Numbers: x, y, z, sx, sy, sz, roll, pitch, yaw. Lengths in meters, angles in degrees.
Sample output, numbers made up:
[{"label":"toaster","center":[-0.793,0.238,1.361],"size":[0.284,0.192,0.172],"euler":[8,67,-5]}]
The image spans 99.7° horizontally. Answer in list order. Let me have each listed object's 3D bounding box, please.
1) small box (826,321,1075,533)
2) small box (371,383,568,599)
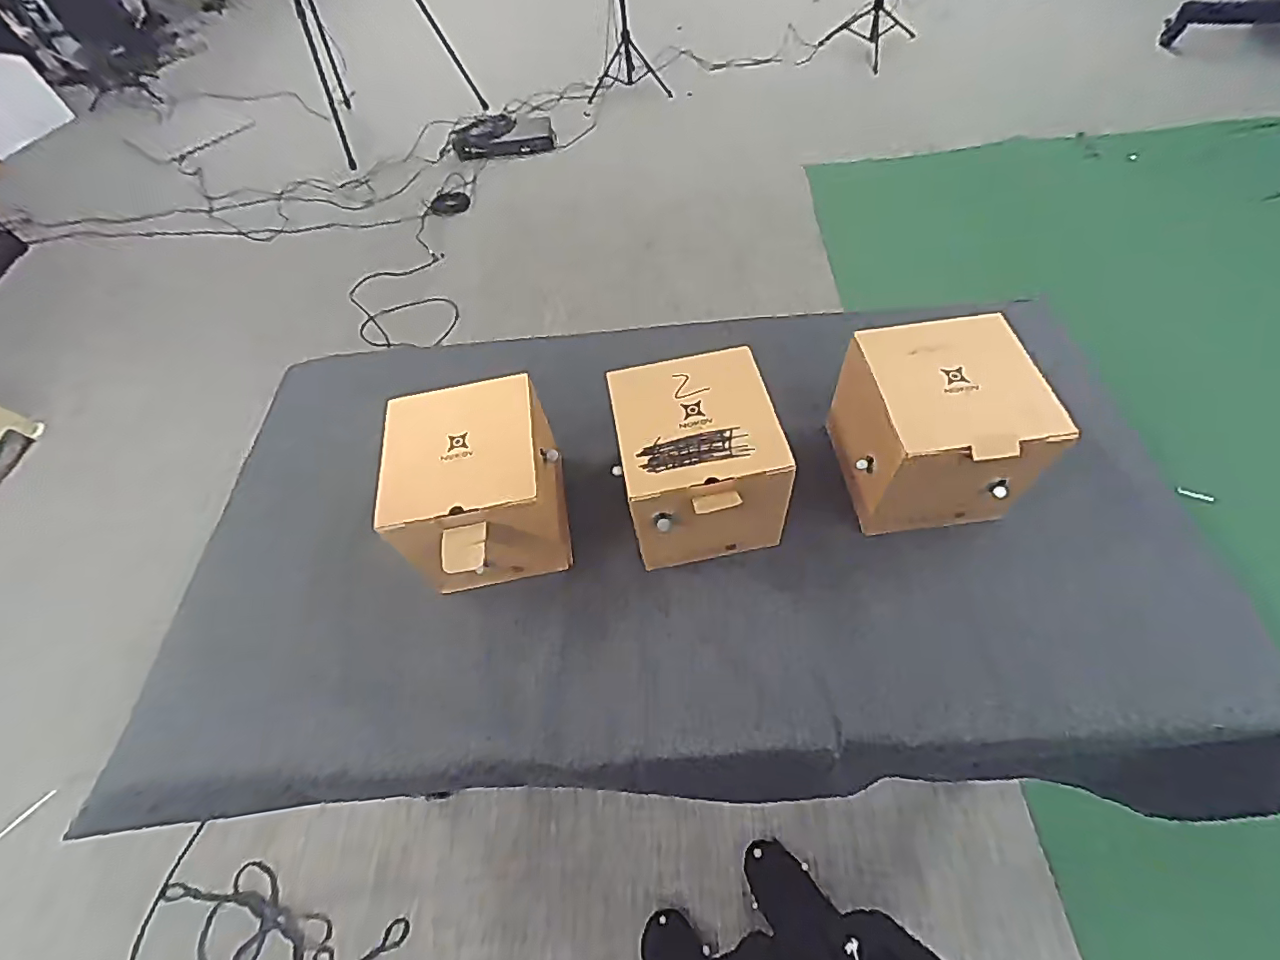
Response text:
[{"label":"small box","center":[0.330,-0.051,0.621],"size":[0.168,0.176,0.179],"euler":[-7,55,1]},{"label":"small box","center":[-0.187,0.017,0.636],"size":[0.168,0.176,0.179],"euler":[-12,57,-1]}]
